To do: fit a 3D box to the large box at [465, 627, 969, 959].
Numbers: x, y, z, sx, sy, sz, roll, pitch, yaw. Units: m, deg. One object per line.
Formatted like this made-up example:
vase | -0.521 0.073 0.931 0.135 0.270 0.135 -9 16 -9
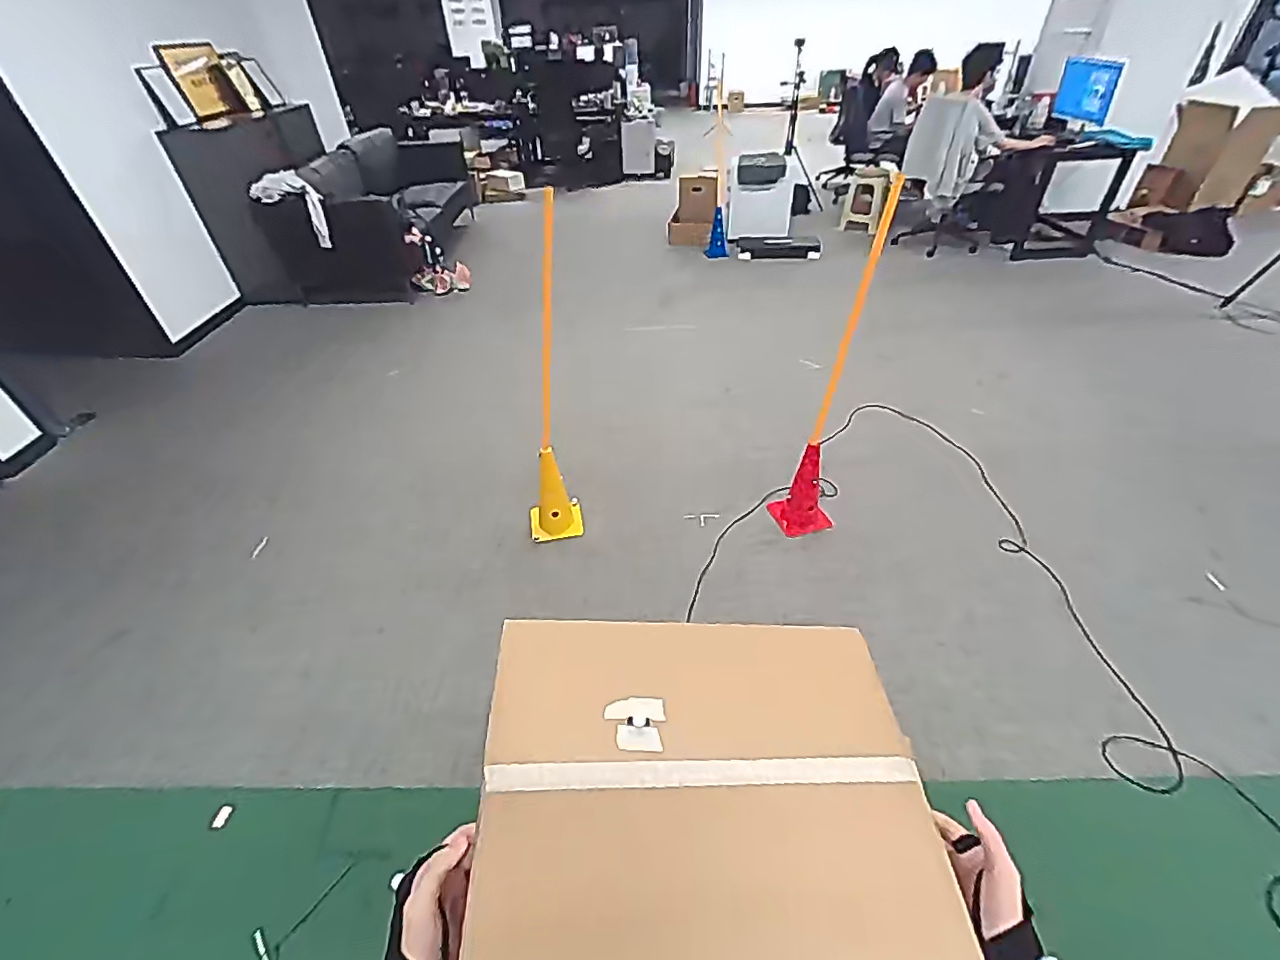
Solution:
large box | 0.044 0.379 0.611 0.408 0.320 0.320 3 45 -7
